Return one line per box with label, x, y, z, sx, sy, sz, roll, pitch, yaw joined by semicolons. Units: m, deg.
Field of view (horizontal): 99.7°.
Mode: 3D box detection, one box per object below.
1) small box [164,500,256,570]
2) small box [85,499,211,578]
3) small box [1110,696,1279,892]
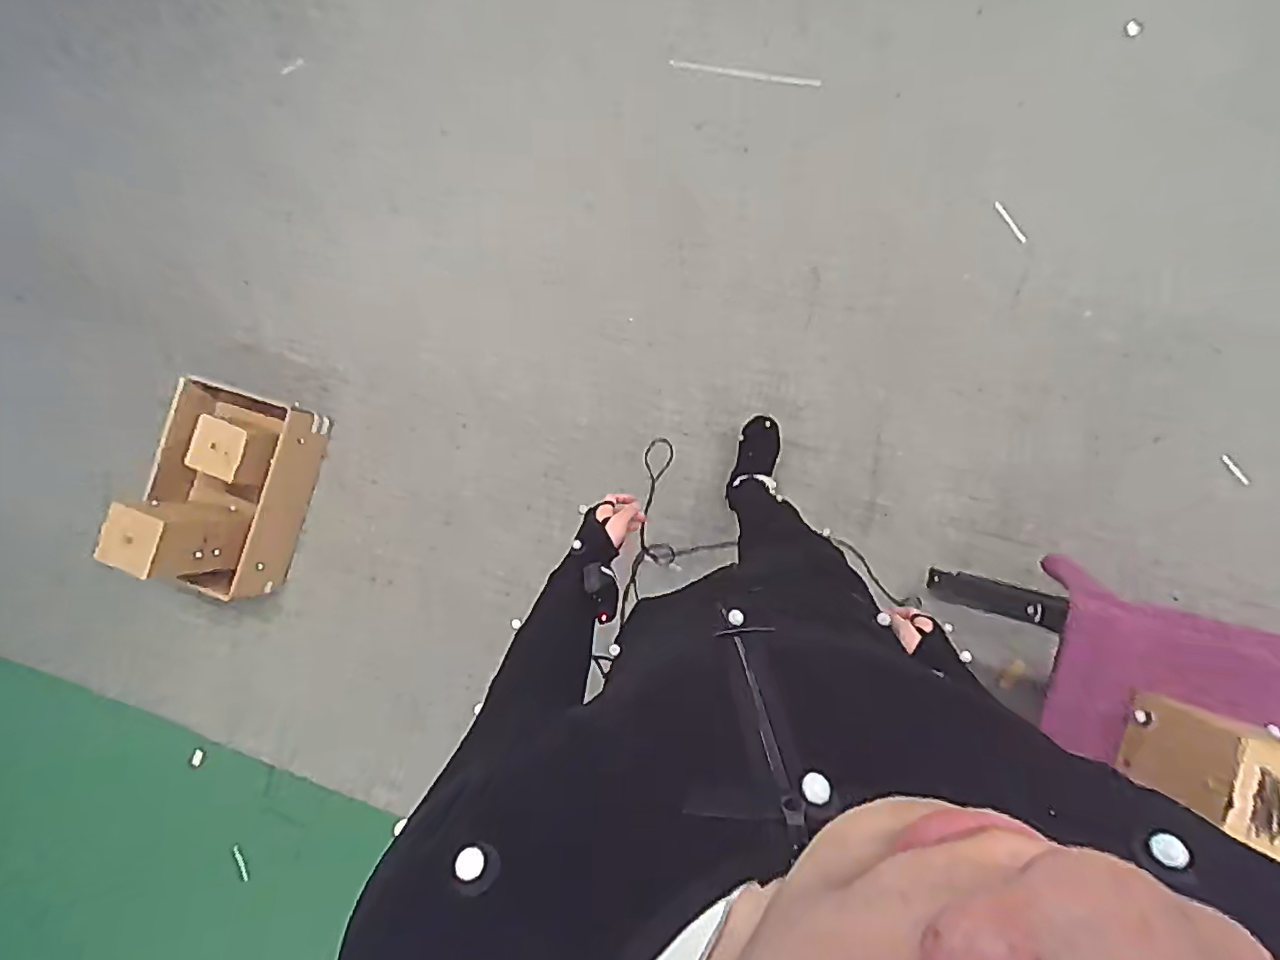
small box;-1.349;0.167;1.674;0.179;0.176;0.168;19;90;8
small box;-1.368;0.161;1.512;0.179;0.176;0.168;19;90;7
small box;0.782;0.407;0.711;0.179;0.176;0.168;16;90;6
